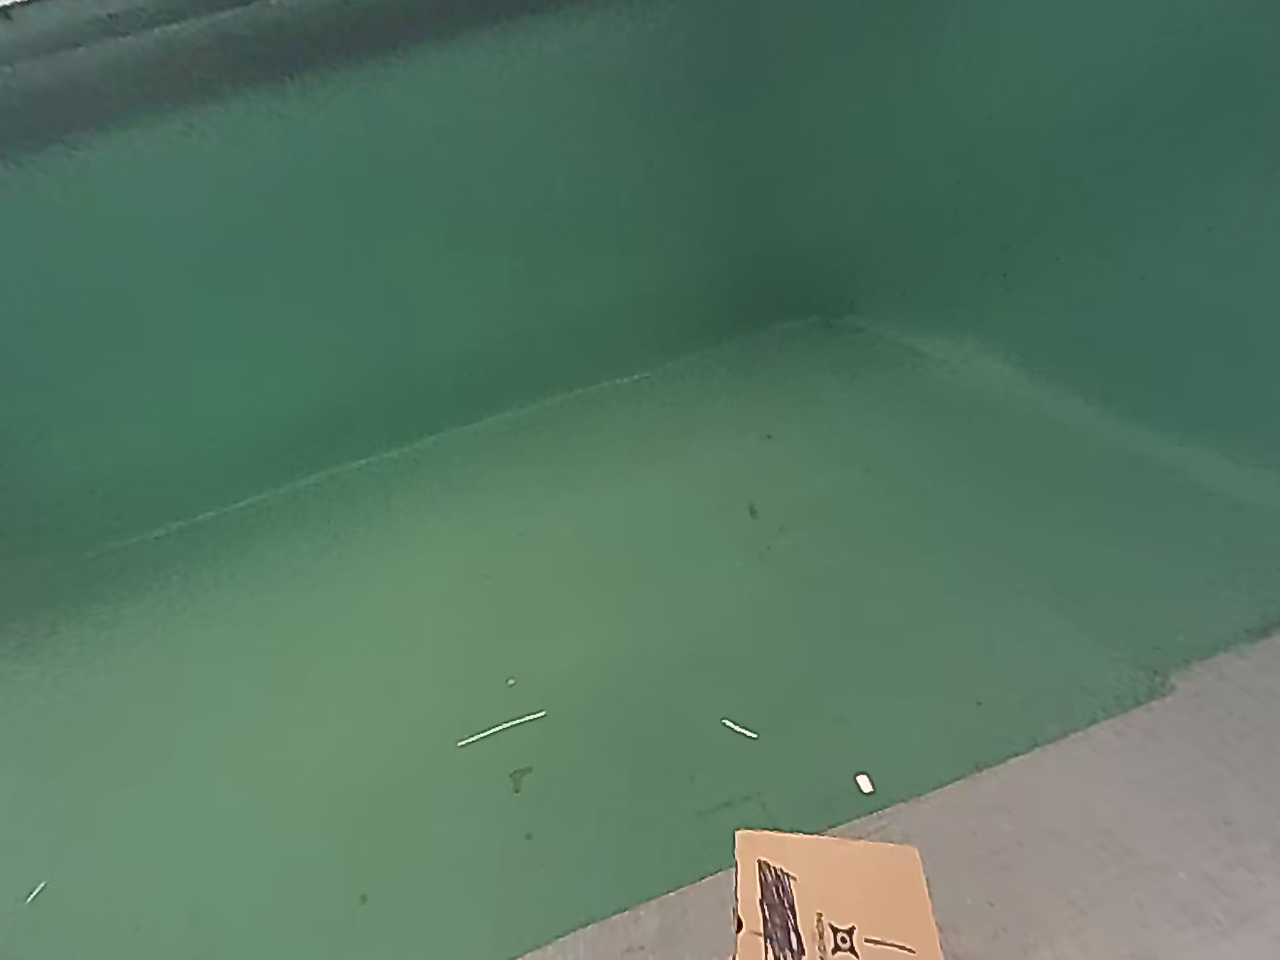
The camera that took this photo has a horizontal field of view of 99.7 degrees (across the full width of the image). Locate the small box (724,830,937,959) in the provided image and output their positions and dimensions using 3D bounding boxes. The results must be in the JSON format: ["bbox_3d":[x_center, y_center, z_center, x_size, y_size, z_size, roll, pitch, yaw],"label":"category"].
[{"bbox_3d":[0.175,0.465,0.508,0.179,0.176,0.168,-3,32,13],"label":"small box"}]
